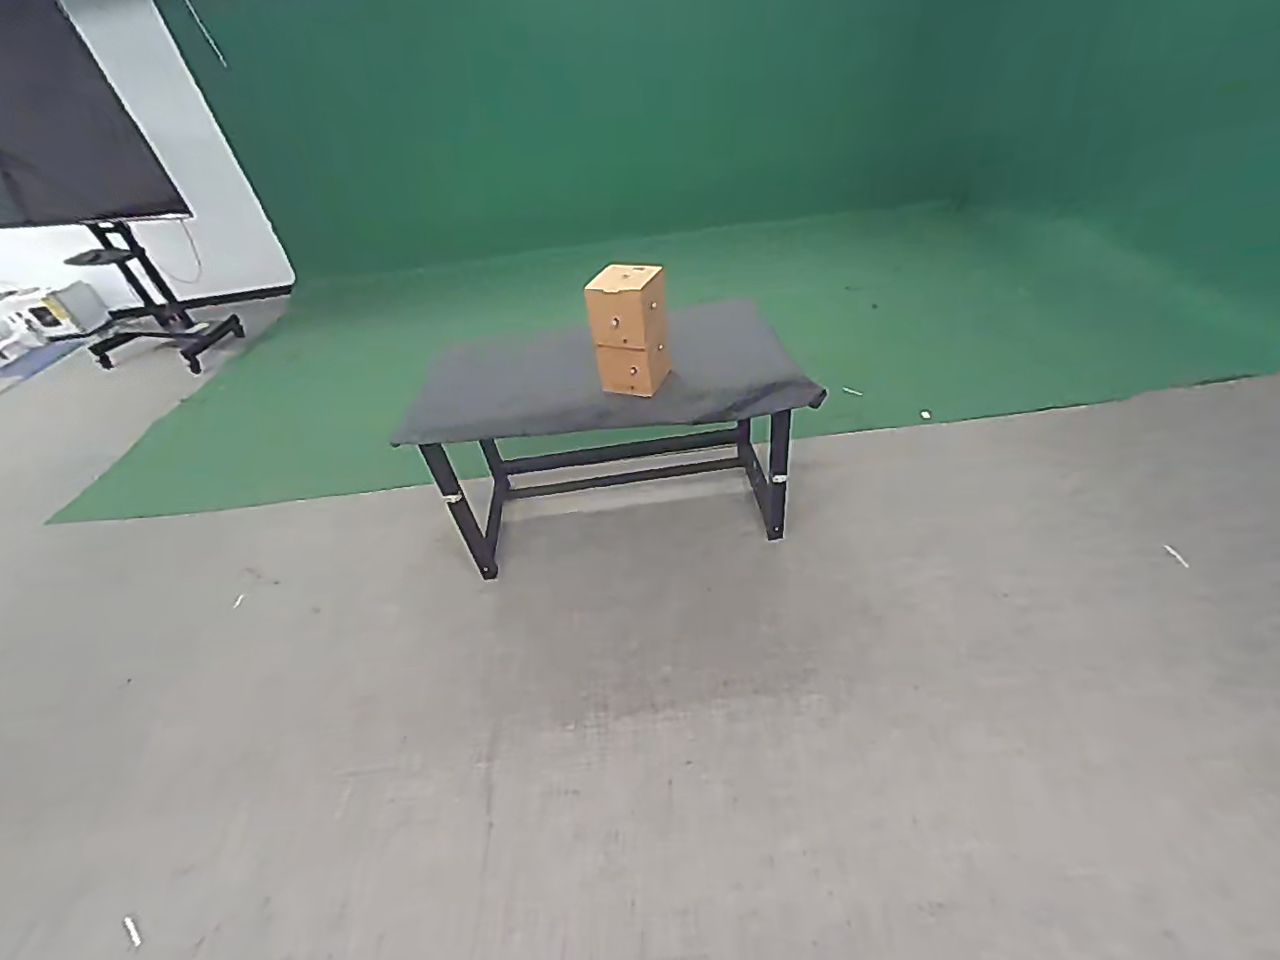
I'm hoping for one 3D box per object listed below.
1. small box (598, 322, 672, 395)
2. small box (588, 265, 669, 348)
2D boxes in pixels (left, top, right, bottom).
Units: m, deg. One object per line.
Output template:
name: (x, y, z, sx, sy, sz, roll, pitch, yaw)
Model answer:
small box: (-0.007, -0.375, 1.646, 0.168, 0.176, 0.179, 11, 43, 20)
small box: (-0.024, -0.491, 1.530, 0.168, 0.176, 0.179, 11, 45, 21)
